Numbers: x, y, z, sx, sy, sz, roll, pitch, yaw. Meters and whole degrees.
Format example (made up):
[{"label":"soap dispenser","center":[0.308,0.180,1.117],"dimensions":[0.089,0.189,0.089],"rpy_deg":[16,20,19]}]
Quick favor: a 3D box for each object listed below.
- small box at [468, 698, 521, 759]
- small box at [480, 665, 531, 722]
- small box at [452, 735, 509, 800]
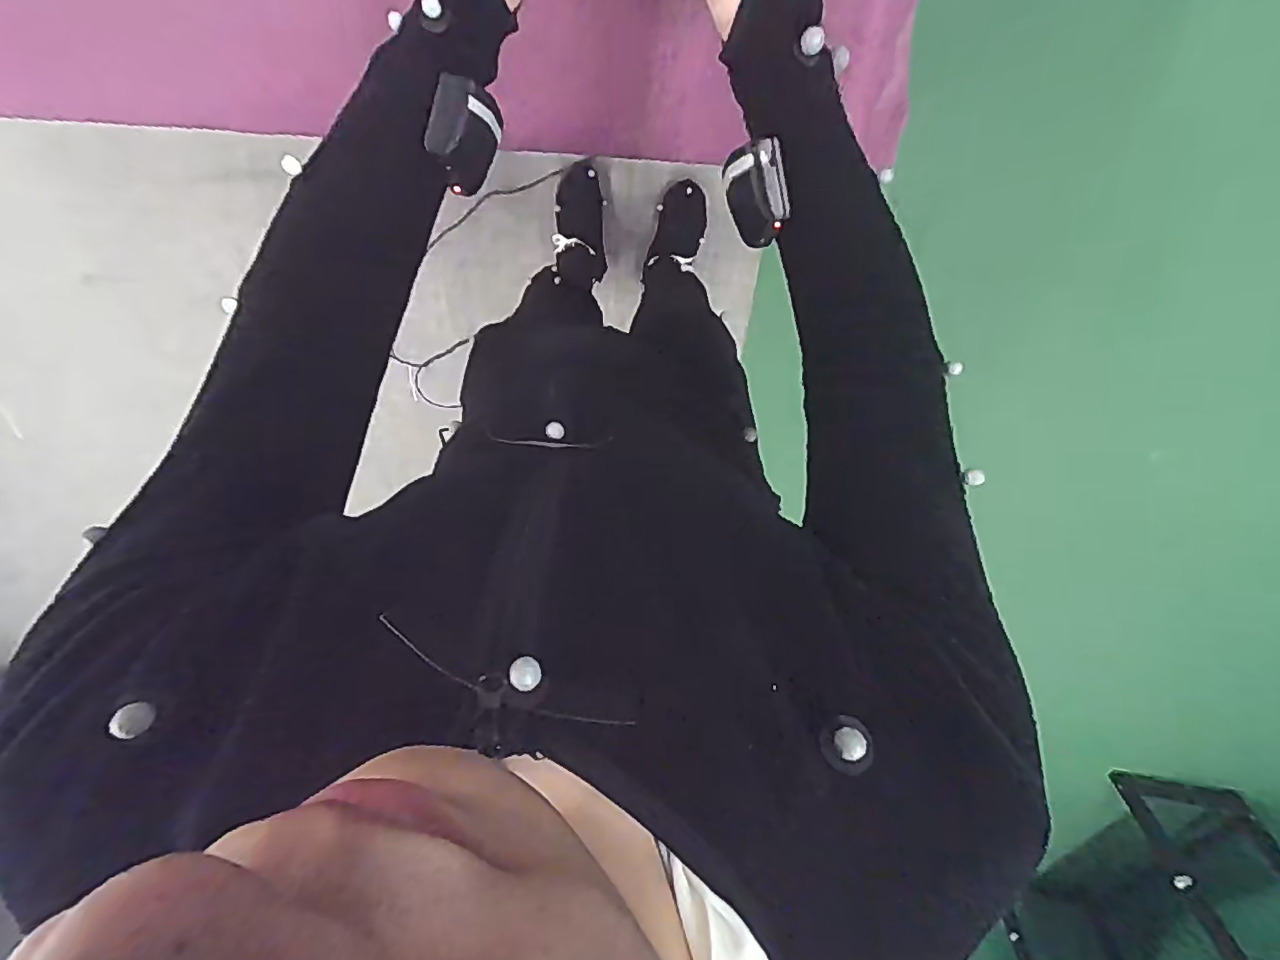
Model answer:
[{"label":"small box","center":[-0.609,1.045,2.278],"dimensions":[0.168,0.176,0.179],"rpy_deg":[4,125,3]},{"label":"small box","center":[-0.594,0.953,2.413],"dimensions":[0.168,0.176,0.179],"rpy_deg":[1,124,5]},{"label":"small box","center":[-0.628,1.137,2.146],"dimensions":[0.168,0.176,0.179],"rpy_deg":[4,125,3]}]
